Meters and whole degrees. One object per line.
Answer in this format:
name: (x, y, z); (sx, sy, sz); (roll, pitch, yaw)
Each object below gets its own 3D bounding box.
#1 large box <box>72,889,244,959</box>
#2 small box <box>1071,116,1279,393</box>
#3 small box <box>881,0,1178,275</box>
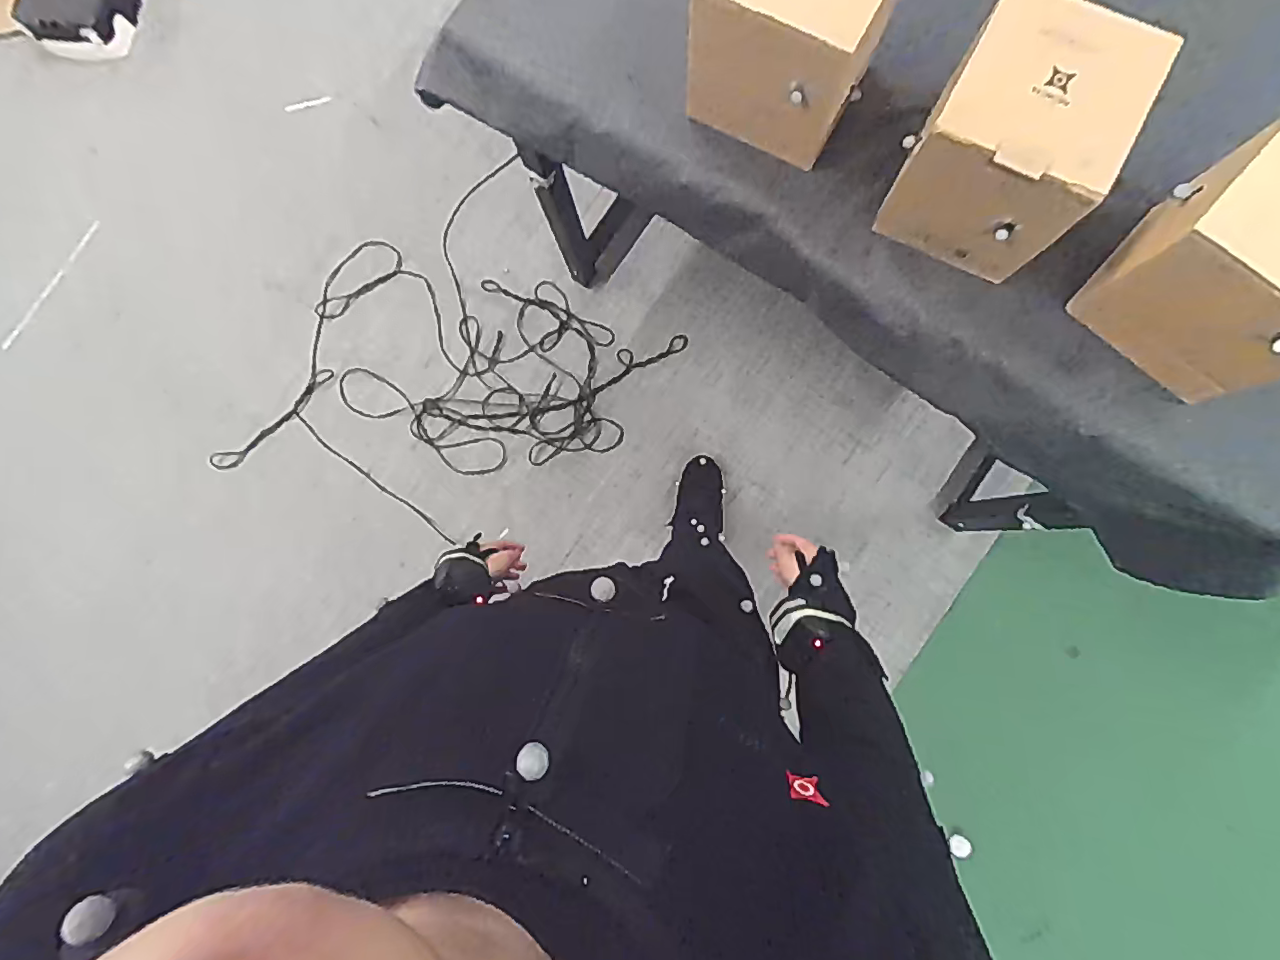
large box: (-1.117, 1.245, 1.184); (0.408, 0.320, 0.320); (40, 88, 8)
small box: (0.604, -0.214, 0.545); (0.179, 0.176, 0.168); (42, 88, 7)
small box: (0.386, -0.354, 0.574); (0.168, 0.176, 0.179); (27, 85, 5)
